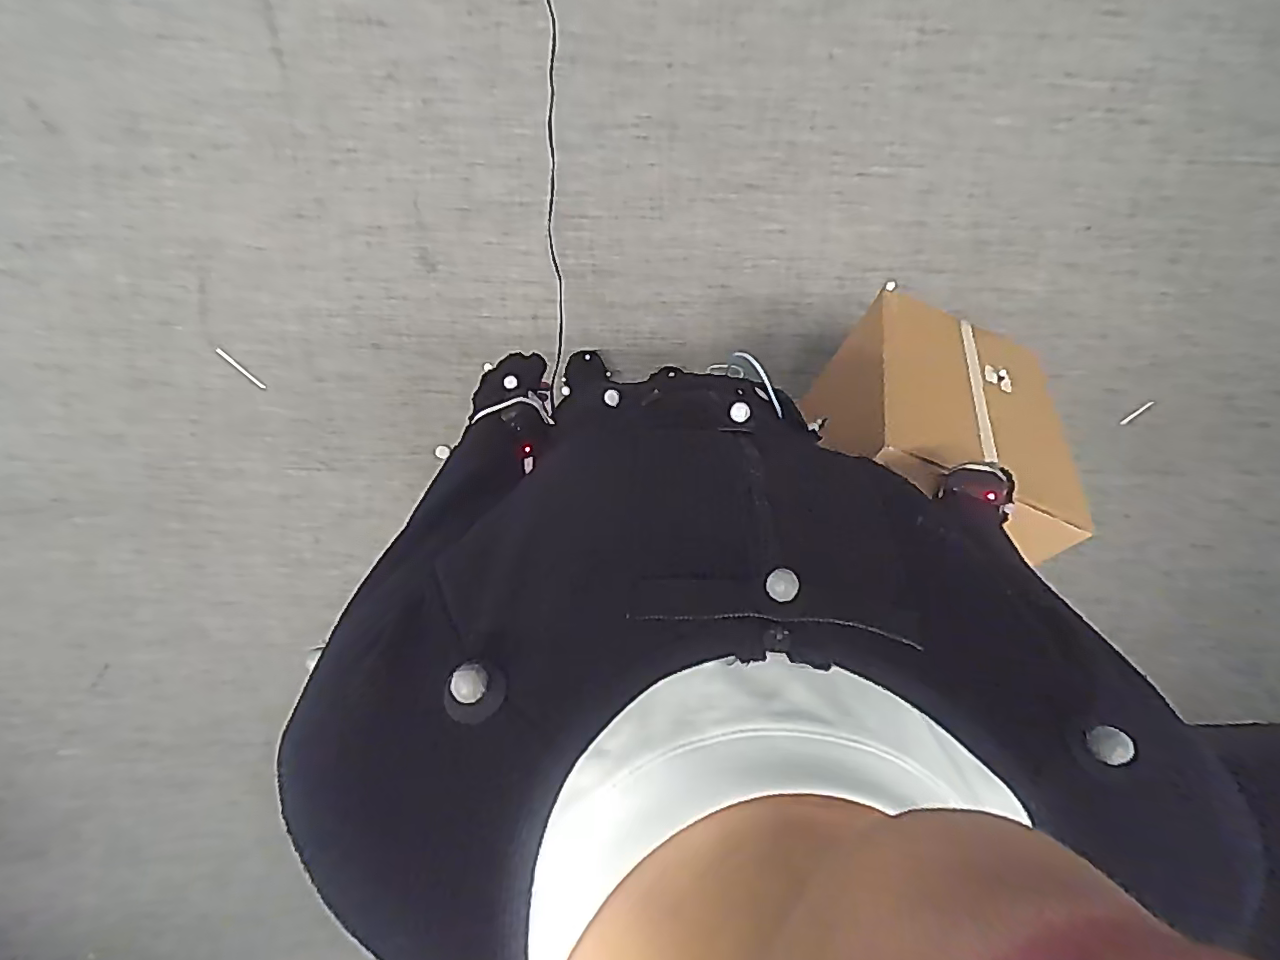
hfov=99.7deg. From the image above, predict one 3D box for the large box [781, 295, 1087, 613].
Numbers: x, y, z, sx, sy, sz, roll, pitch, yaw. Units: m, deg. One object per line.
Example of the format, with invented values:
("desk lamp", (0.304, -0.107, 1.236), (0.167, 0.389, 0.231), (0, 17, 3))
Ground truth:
("large box", (0.469, -0.043, 0.954), (0.320, 0.408, 0.320), (23, 140, -3))
